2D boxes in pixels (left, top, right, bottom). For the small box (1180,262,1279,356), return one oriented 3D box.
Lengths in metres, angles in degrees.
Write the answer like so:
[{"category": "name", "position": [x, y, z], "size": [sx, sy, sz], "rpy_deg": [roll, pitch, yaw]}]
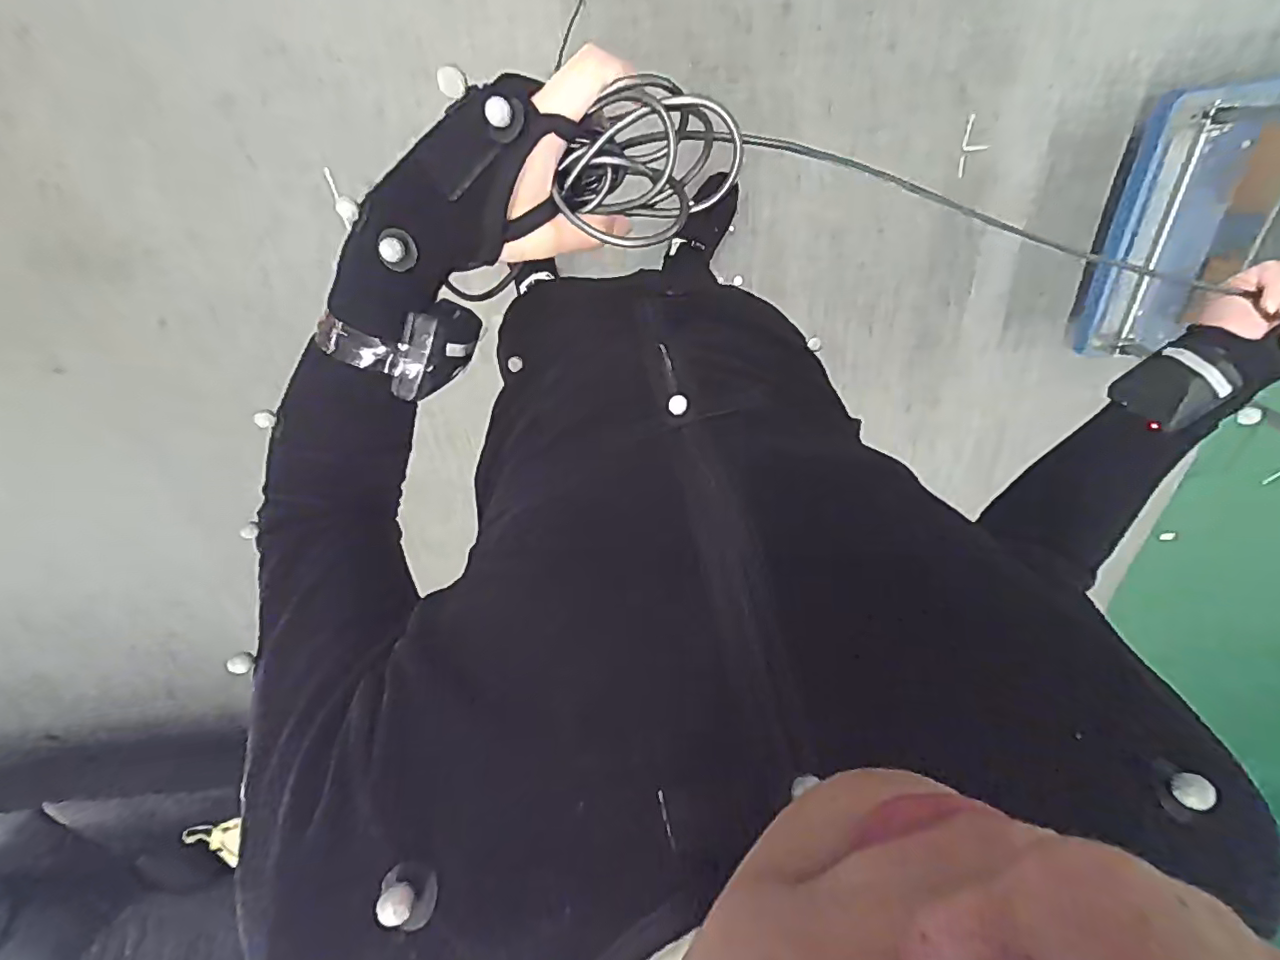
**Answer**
[{"category": "small box", "position": [1.441, -0.400, 1.253], "size": [0.179, 0.176, 0.168], "rpy_deg": [-4, 123, 2]}]
